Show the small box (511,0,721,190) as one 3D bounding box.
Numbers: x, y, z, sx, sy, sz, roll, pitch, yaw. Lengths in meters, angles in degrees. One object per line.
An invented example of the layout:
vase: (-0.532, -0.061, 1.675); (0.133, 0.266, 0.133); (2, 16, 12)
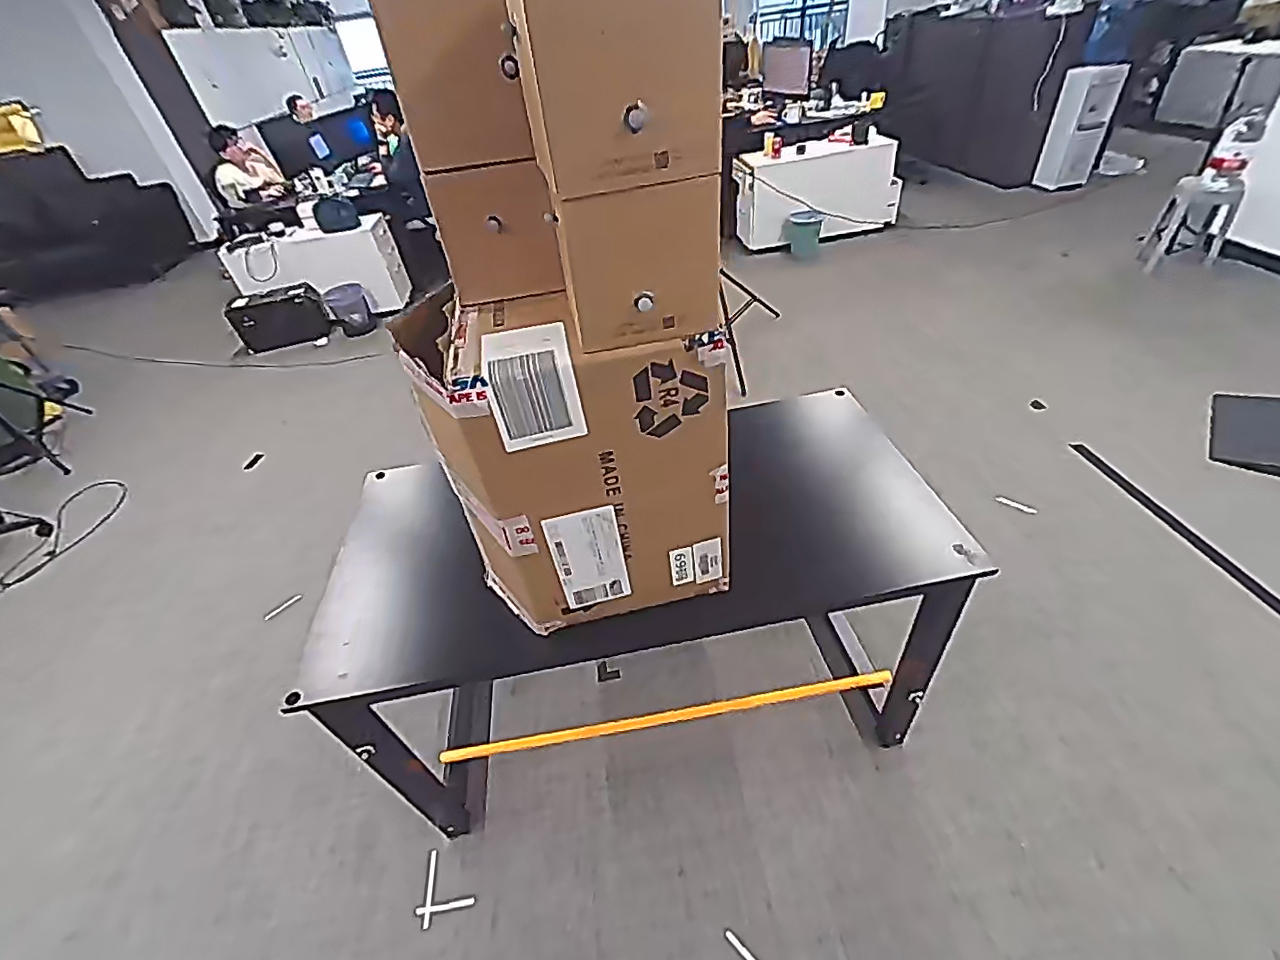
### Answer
small box: (-0.028, -0.400, 0.529); (0.168, 0.176, 0.179); (-14, 42, -7)

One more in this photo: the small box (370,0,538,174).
small box: (-0.203, -0.495, 0.667); (0.179, 0.176, 0.168); (-14, 39, -8)

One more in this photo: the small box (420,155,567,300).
small box: (-0.189, -0.371, 0.773); (0.179, 0.176, 0.168); (-12, 39, -5)

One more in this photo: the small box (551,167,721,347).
small box: (-0.010, -0.279, 0.640); (0.168, 0.176, 0.179); (-12, 42, -5)
